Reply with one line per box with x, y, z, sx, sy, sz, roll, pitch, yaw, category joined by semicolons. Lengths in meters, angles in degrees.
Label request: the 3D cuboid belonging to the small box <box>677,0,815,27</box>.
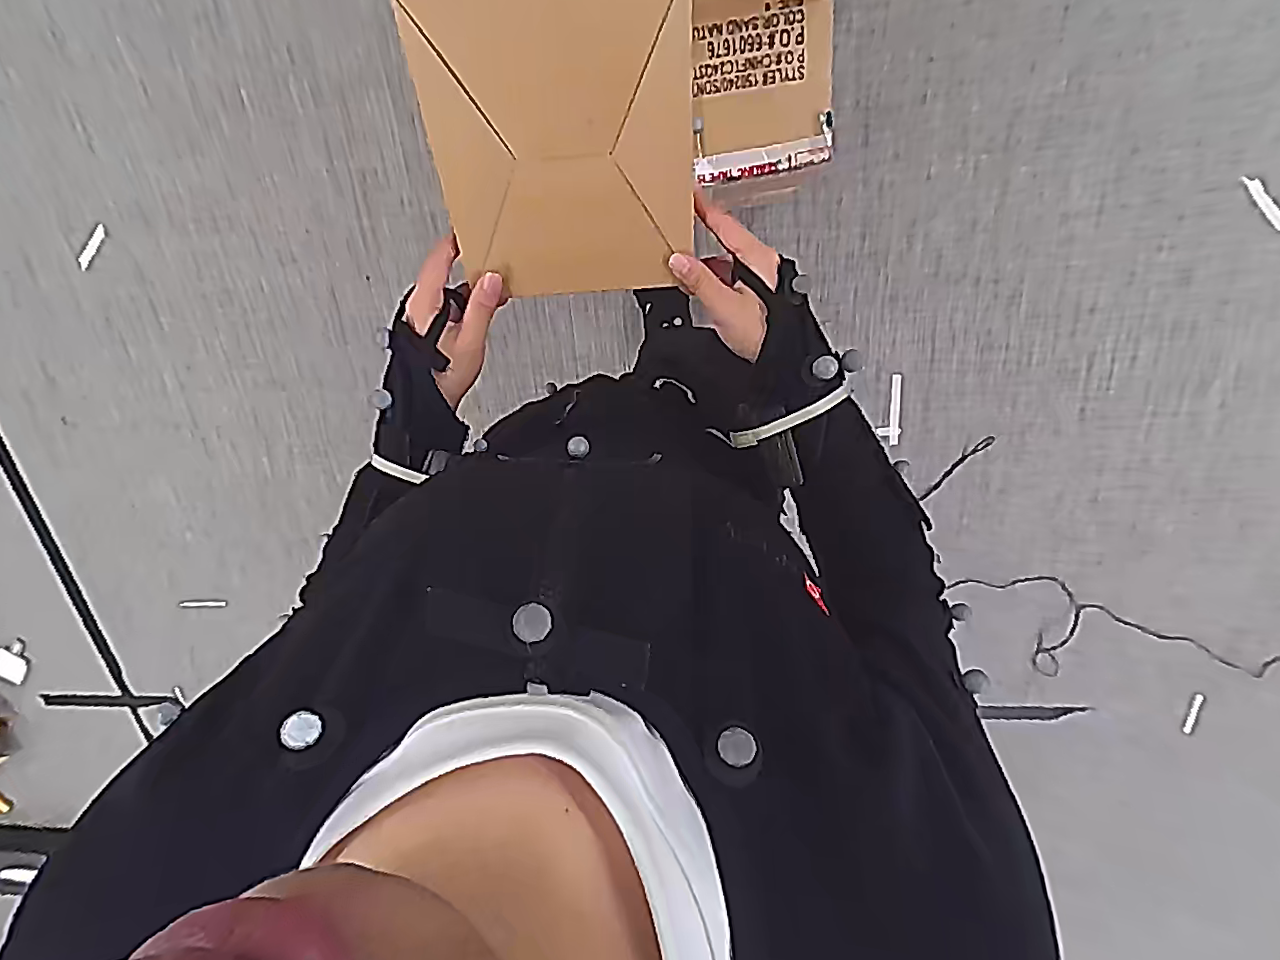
0.125;-0.614;0.565;0.179;0.176;0.168;-4;111;5;small box
